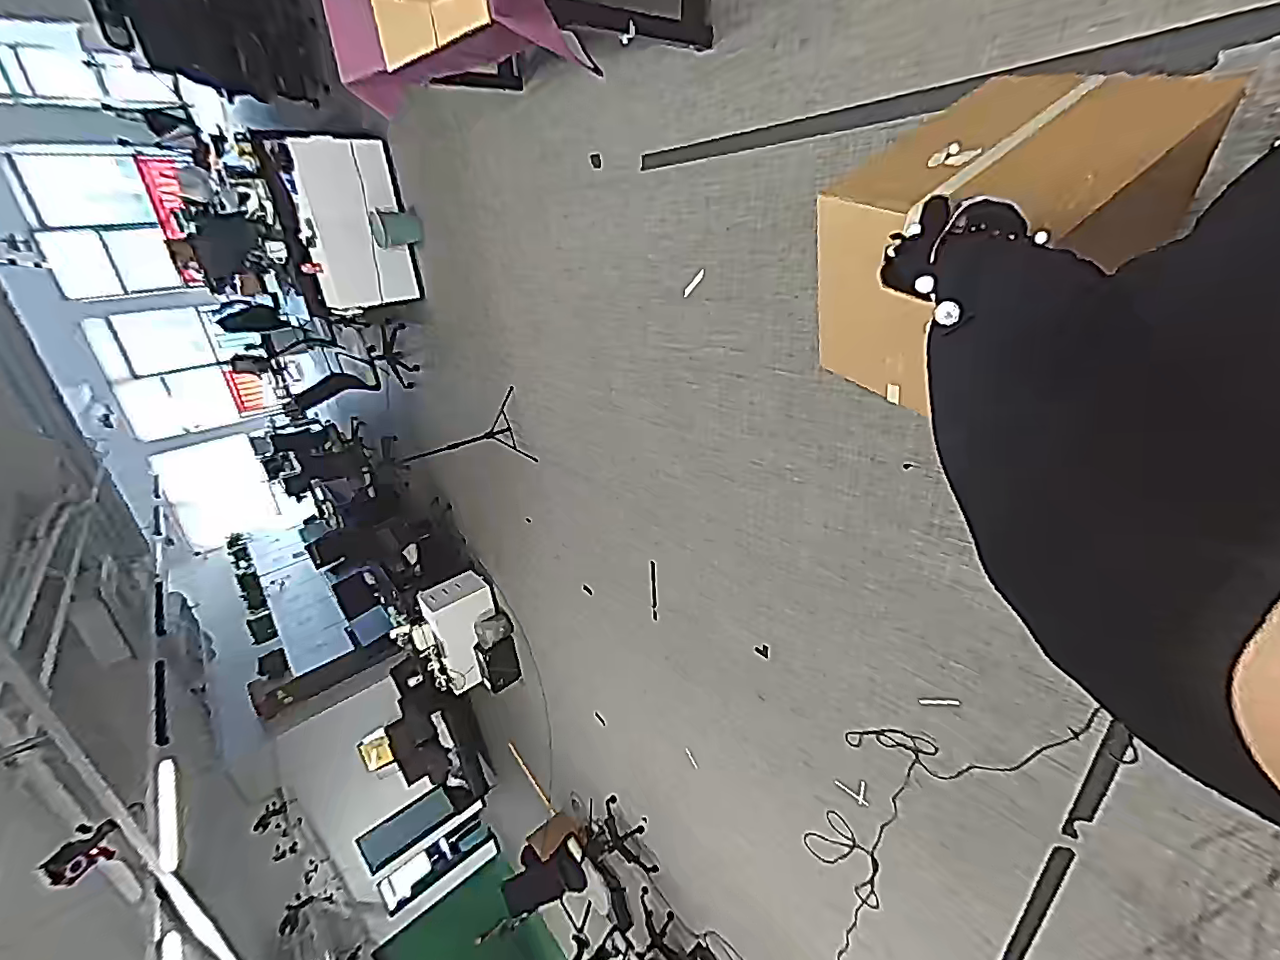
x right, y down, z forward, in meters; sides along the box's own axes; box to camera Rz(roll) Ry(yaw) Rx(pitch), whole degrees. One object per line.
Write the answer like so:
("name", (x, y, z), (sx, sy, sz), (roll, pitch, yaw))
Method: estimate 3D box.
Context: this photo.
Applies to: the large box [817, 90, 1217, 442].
("large box", (0.528, -0.336, 0.833), (0.320, 0.408, 0.320), (40, 162, 41))
